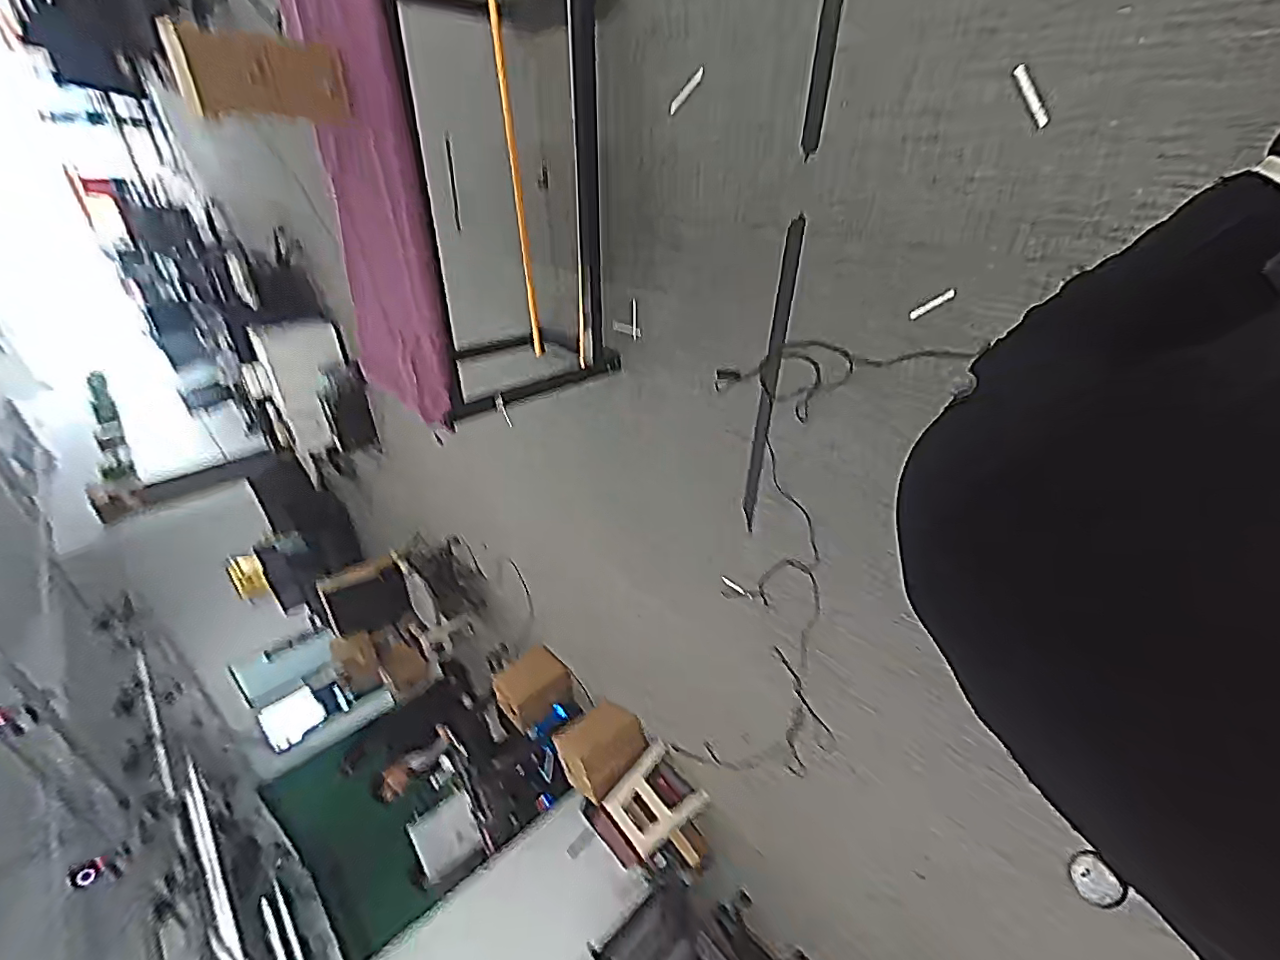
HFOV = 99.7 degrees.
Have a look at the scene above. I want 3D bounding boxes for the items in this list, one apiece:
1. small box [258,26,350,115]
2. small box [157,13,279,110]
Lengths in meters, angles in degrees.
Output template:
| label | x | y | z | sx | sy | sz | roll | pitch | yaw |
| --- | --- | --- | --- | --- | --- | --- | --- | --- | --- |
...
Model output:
| label | x | y | z | sx | sy | sz | roll | pitch | yaw |
| --- | --- | --- | --- | --- | --- | --- | --- | --- | --- |
| small box | -0.865 | -1.032 | 1.369 | 0.179 | 0.176 | 0.168 | 32 | 134 | 34 |
| small box | -0.983 | -0.975 | 1.269 | 0.179 | 0.176 | 0.168 | 32 | 134 | 35 |
